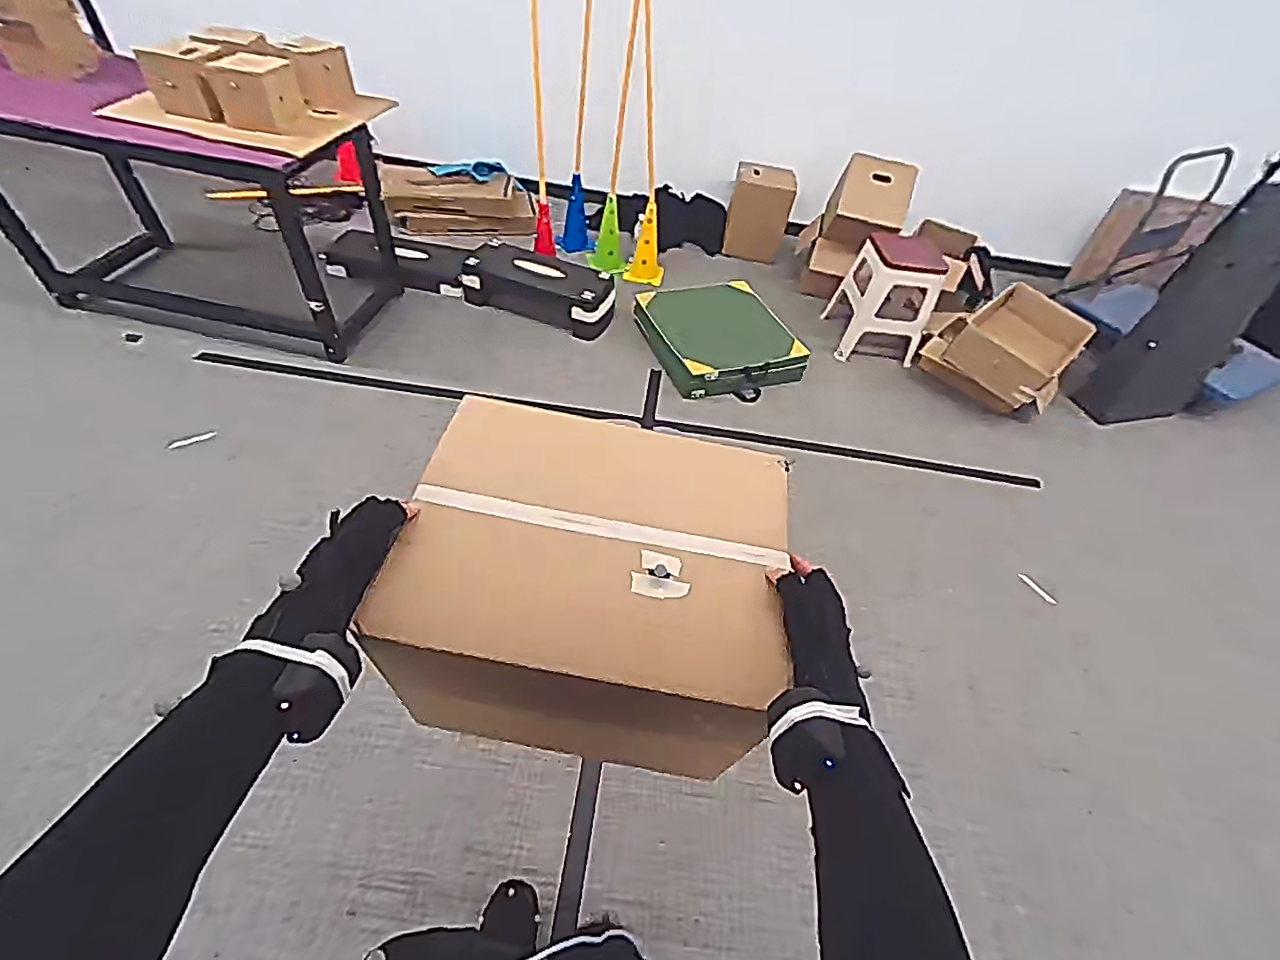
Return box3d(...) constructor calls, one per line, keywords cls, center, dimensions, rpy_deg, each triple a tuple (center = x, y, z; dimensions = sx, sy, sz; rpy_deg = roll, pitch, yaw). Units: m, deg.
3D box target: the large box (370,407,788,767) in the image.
box3d(cls="large box", center=(-0.058, 0.149, 0.708), dimensions=(0.408, 0.320, 0.320), rpy_deg=(12, 52, -1))
